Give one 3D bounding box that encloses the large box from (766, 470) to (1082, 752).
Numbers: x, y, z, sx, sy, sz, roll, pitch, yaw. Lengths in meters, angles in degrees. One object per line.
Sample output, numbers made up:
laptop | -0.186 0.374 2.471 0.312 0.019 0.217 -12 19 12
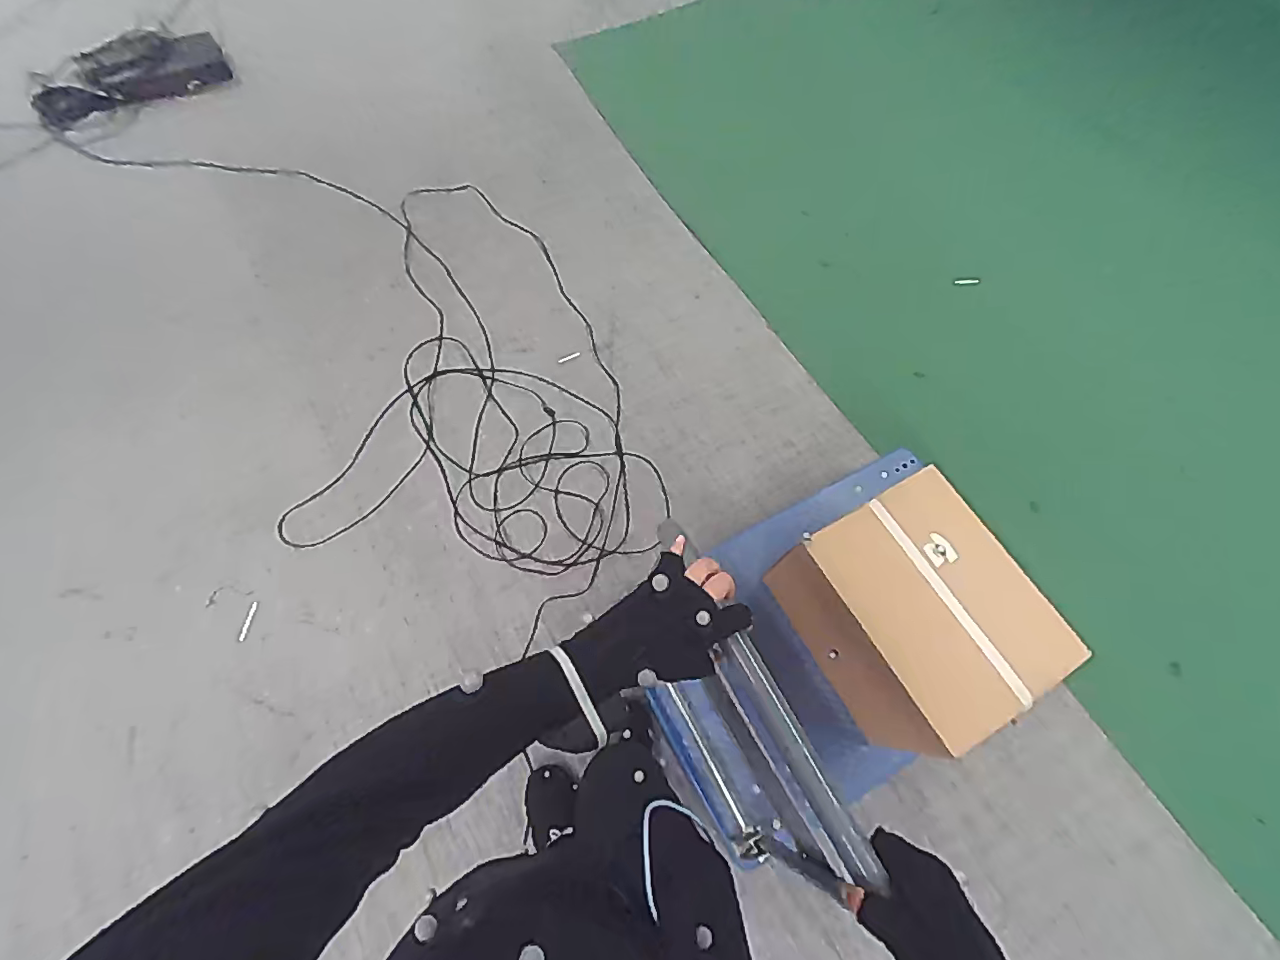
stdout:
large box | 0.518 0.262 1.081 0.320 0.320 0.408 -28 71 -13
